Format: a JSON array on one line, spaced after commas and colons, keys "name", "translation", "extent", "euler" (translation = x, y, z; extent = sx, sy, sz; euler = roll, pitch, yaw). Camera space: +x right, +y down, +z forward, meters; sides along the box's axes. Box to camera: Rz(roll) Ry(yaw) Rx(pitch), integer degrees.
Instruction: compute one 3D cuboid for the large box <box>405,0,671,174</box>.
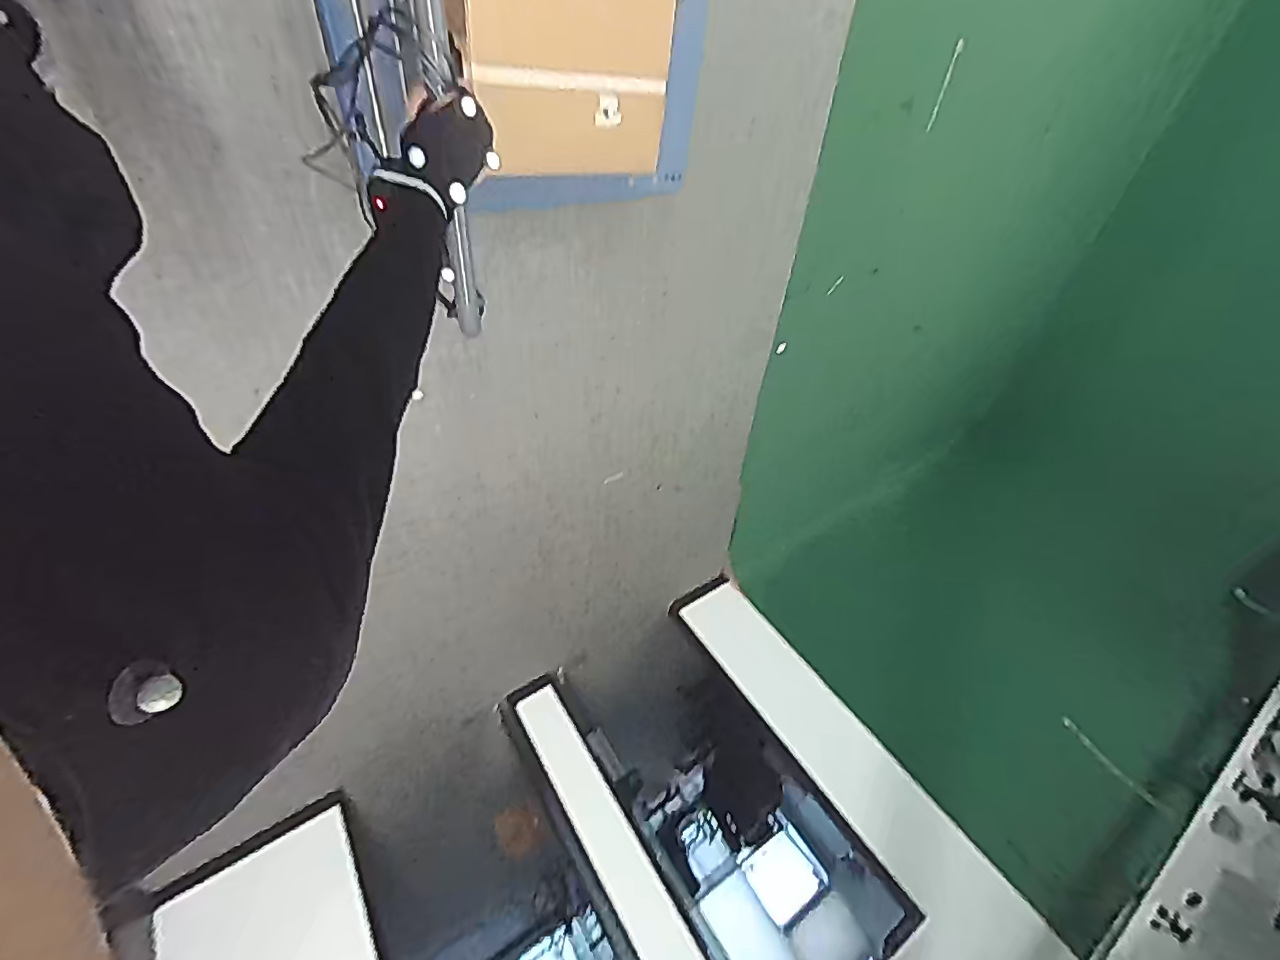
[{"name": "large box", "translation": [-0.203, -0.820, 1.061], "extent": [0.408, 0.320, 0.320], "euler": [-20, 140, -29]}]
